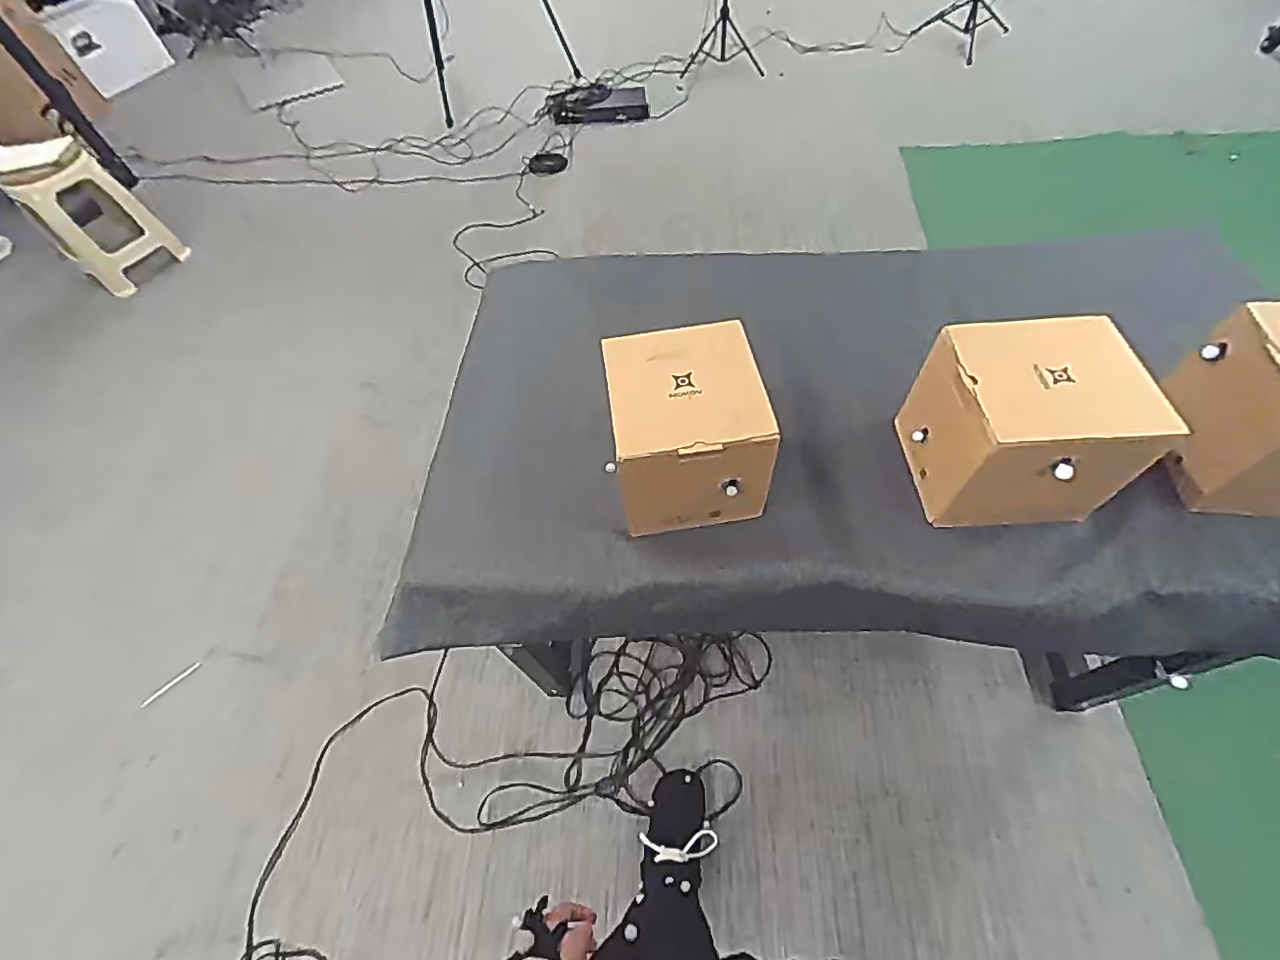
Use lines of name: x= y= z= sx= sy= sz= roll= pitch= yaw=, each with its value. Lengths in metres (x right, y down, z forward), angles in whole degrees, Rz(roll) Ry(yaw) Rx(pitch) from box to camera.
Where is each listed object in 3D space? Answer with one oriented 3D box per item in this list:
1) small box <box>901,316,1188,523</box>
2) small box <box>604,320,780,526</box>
small box: x=0.428 y=-0.061 z=0.613 sx=0.179 sy=0.176 sz=0.168 roll=-3 pitch=57 yaw=4
small box: x=0.054 y=-0.058 z=0.643 sx=0.168 sy=0.176 sz=0.179 roll=-8 pitch=55 yaw=-2
